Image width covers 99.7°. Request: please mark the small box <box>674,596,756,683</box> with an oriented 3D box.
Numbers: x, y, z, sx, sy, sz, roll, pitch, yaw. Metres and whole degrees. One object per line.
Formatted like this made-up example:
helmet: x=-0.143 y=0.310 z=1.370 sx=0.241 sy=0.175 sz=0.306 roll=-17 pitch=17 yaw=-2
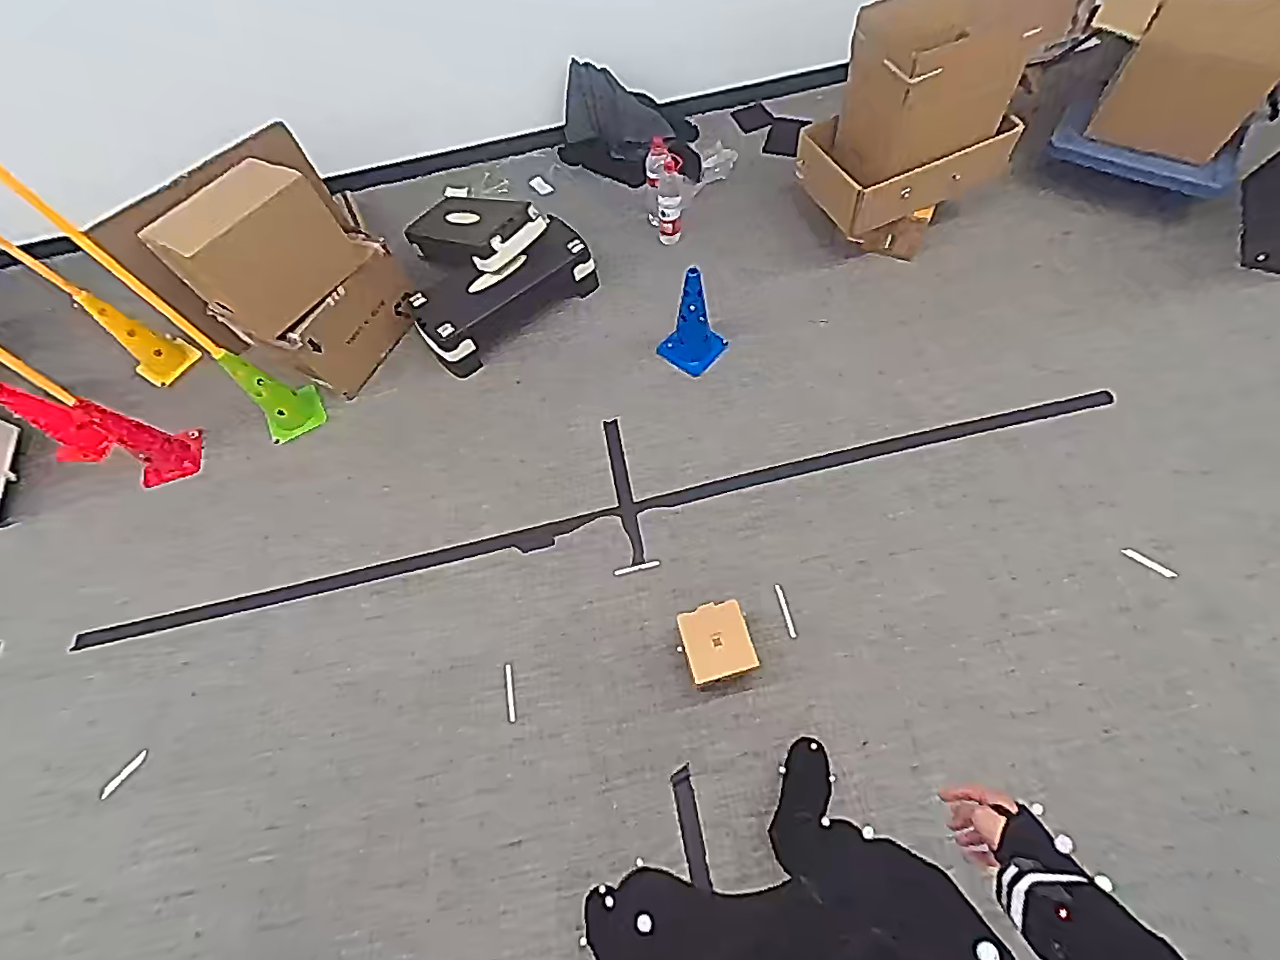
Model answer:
small box: x=0.195 y=0.426 z=1.424 sx=0.168 sy=0.176 sz=0.179 roll=-16 pitch=64 yaw=-2
